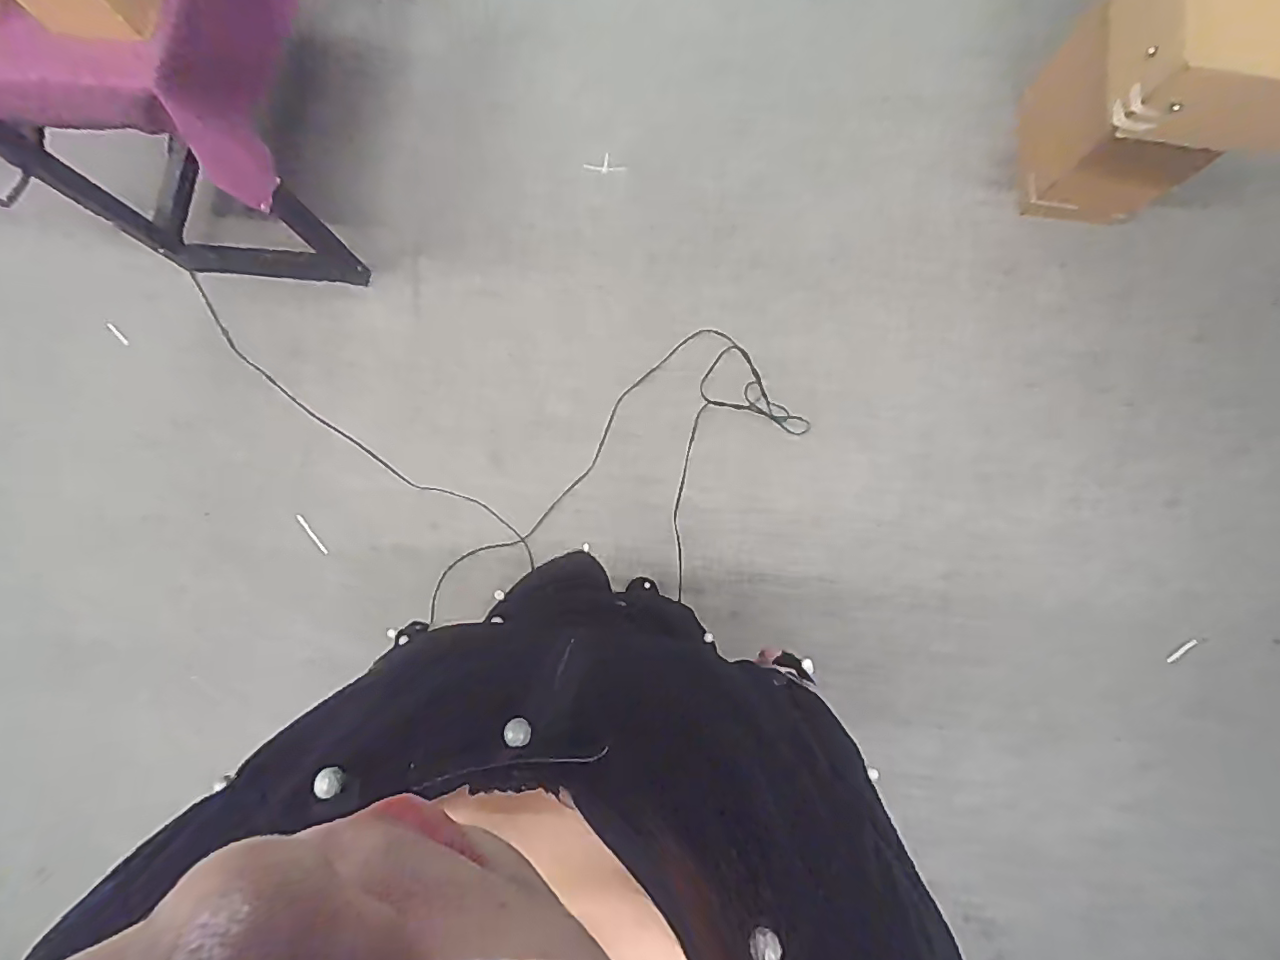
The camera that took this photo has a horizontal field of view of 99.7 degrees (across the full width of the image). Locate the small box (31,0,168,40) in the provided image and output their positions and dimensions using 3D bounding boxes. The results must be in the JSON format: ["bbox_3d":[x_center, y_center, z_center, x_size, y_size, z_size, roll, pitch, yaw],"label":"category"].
[{"bbox_3d":[-0.918,-0.861,0.874,0.179,0.176,0.168,7,82,2],"label":"small box"}]
